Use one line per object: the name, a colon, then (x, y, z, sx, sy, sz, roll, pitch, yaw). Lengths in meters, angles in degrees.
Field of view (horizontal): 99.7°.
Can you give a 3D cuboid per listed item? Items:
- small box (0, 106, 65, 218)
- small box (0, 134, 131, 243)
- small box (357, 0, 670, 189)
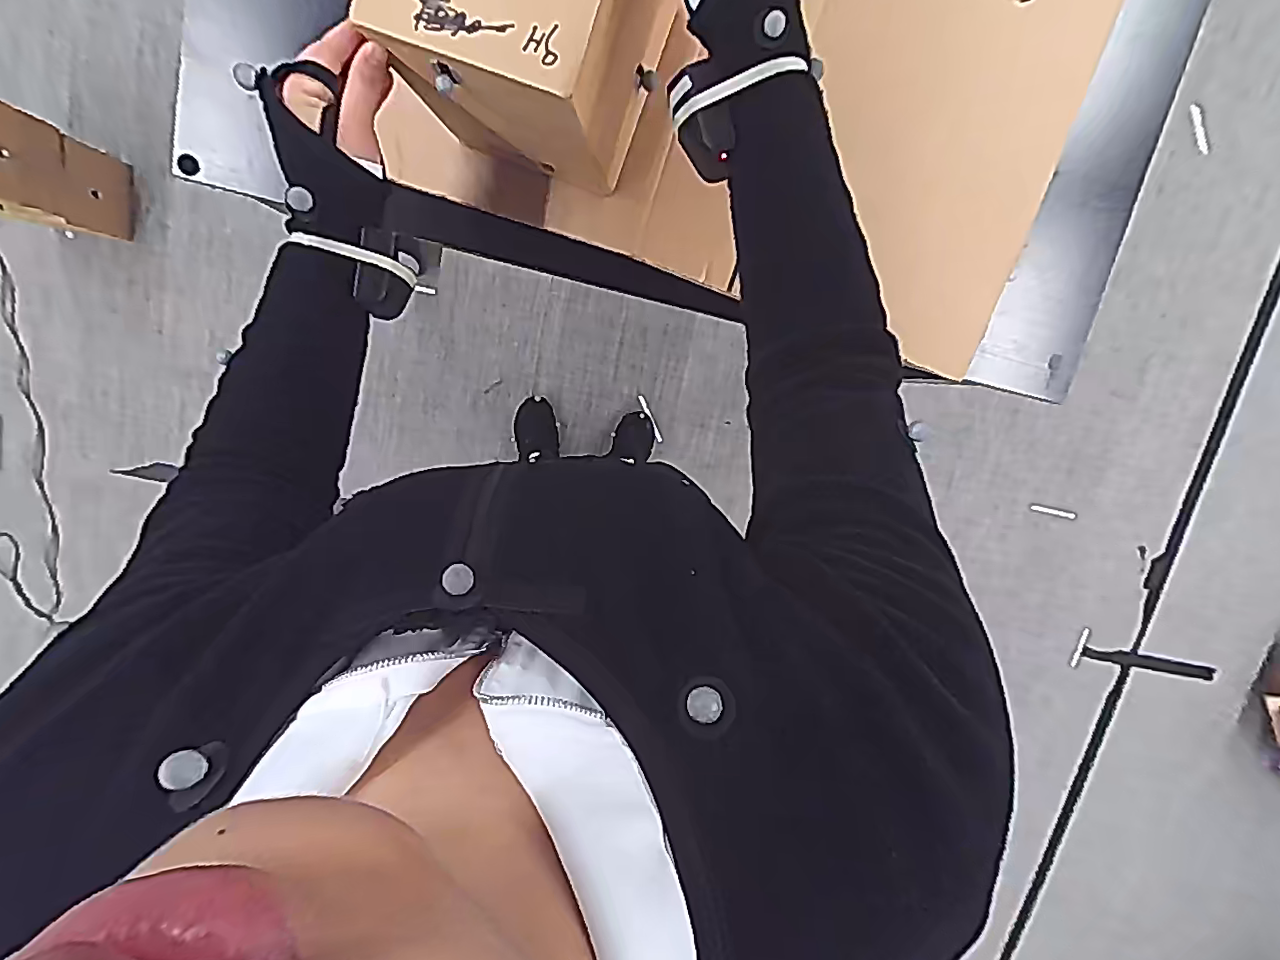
small box: (-1.242, -0.609, 1.012, 0.168, 0.176, 0.179, 4, 100, -8)
small box: (-1.258, -0.636, 1.171, 0.168, 0.176, 0.179, 8, 101, -7)
small box: (-0.079, -0.373, 0.429, 0.168, 0.176, 0.179, 21, 99, 4)
